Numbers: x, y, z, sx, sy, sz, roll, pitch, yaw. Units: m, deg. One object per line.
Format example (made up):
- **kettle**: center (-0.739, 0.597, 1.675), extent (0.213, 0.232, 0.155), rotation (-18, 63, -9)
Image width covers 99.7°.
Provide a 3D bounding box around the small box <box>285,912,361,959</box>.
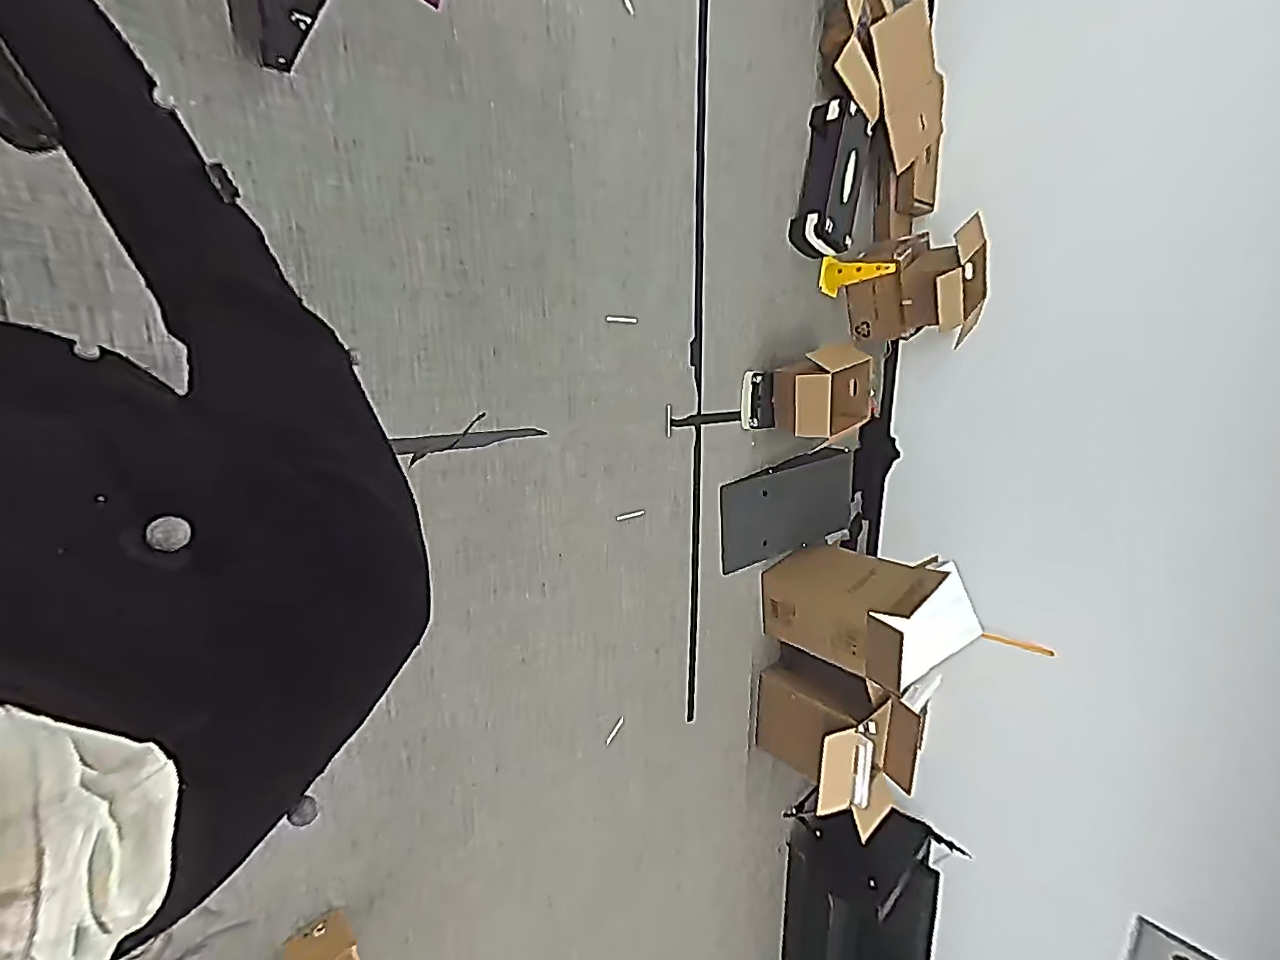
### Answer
- **small box**: center (-0.949, 1.476, 1.635), extent (0.168, 0.176, 0.179), rotation (-17, 110, -41)
